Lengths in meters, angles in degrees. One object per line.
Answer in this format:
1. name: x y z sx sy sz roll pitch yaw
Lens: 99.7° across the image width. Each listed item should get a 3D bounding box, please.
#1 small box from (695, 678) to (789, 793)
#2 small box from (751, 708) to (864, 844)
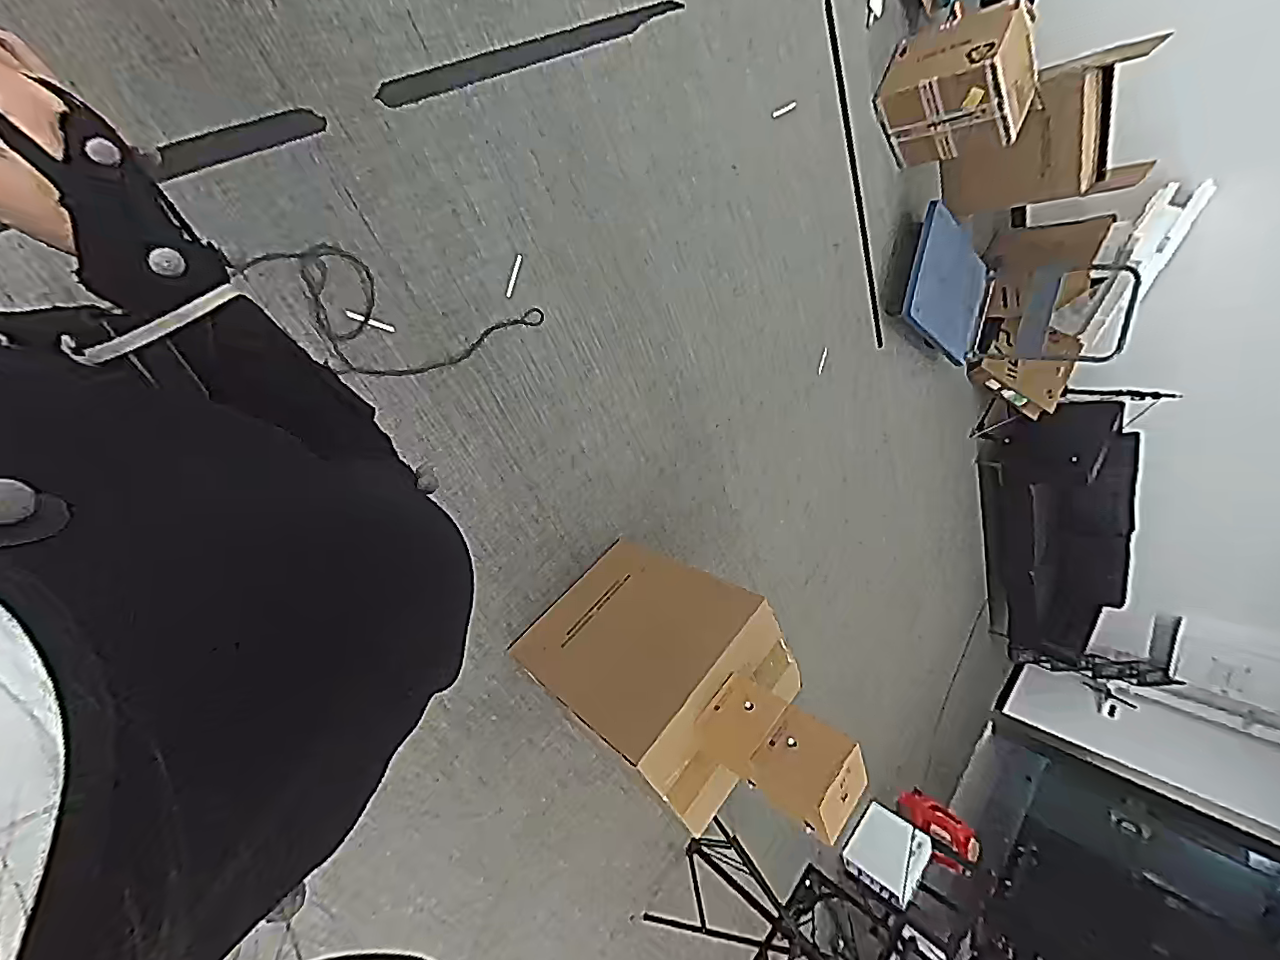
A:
1. small box: 0.259 0.611 1.316 0.168 0.176 0.179 -43 126 -28
2. small box: 0.371 0.645 1.199 0.168 0.176 0.179 -41 125 -30
